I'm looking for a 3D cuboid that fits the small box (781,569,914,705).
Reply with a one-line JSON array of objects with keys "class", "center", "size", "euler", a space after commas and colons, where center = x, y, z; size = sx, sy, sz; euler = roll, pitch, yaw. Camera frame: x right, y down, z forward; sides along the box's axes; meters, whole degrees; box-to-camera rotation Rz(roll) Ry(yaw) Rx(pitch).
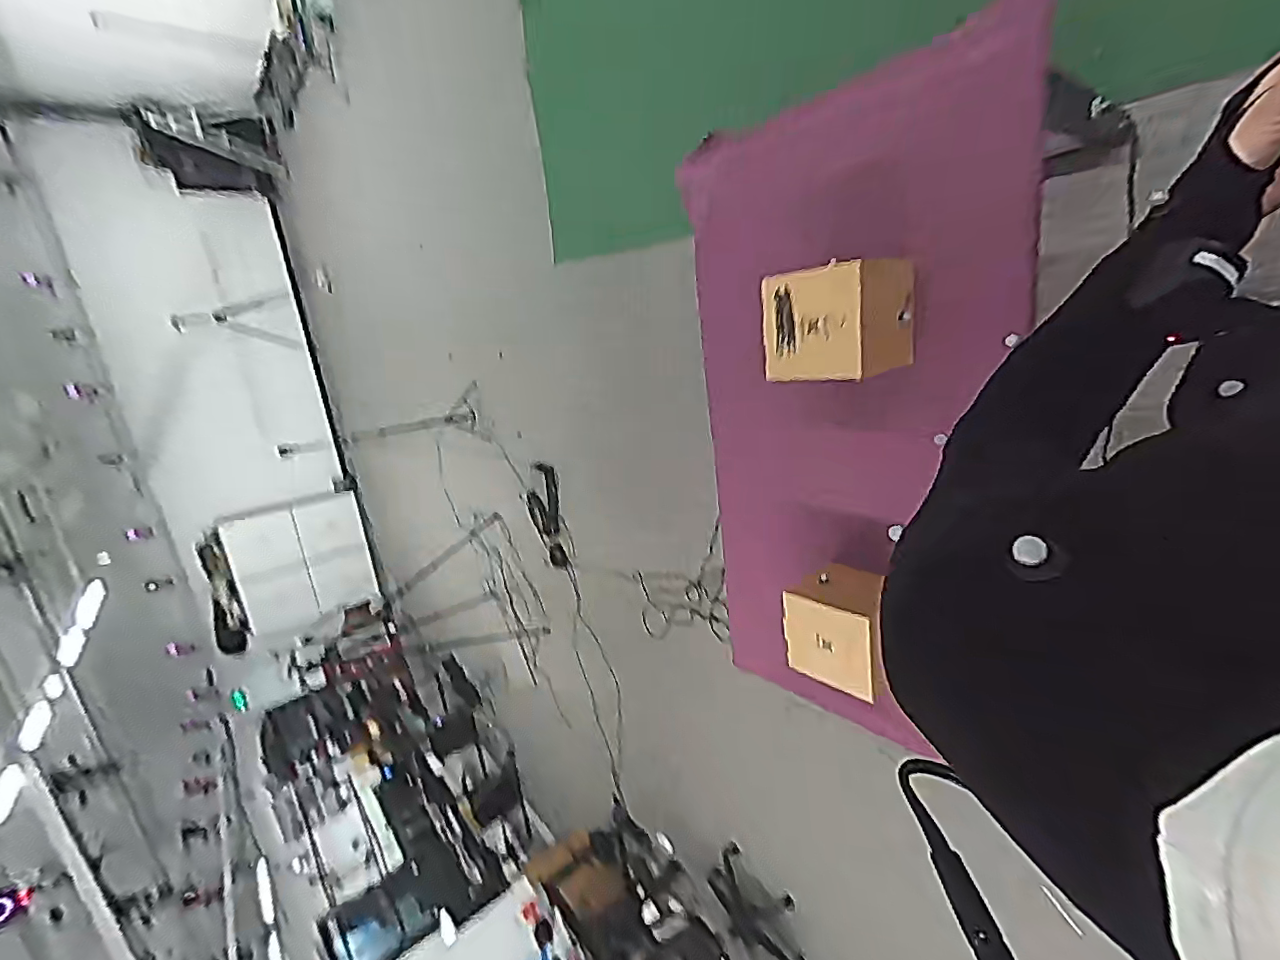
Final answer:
[{"class": "small box", "center": [0.393, 0.284, 1.028], "size": [0.179, 0.176, 0.168], "euler": [9, 113, 49]}]
